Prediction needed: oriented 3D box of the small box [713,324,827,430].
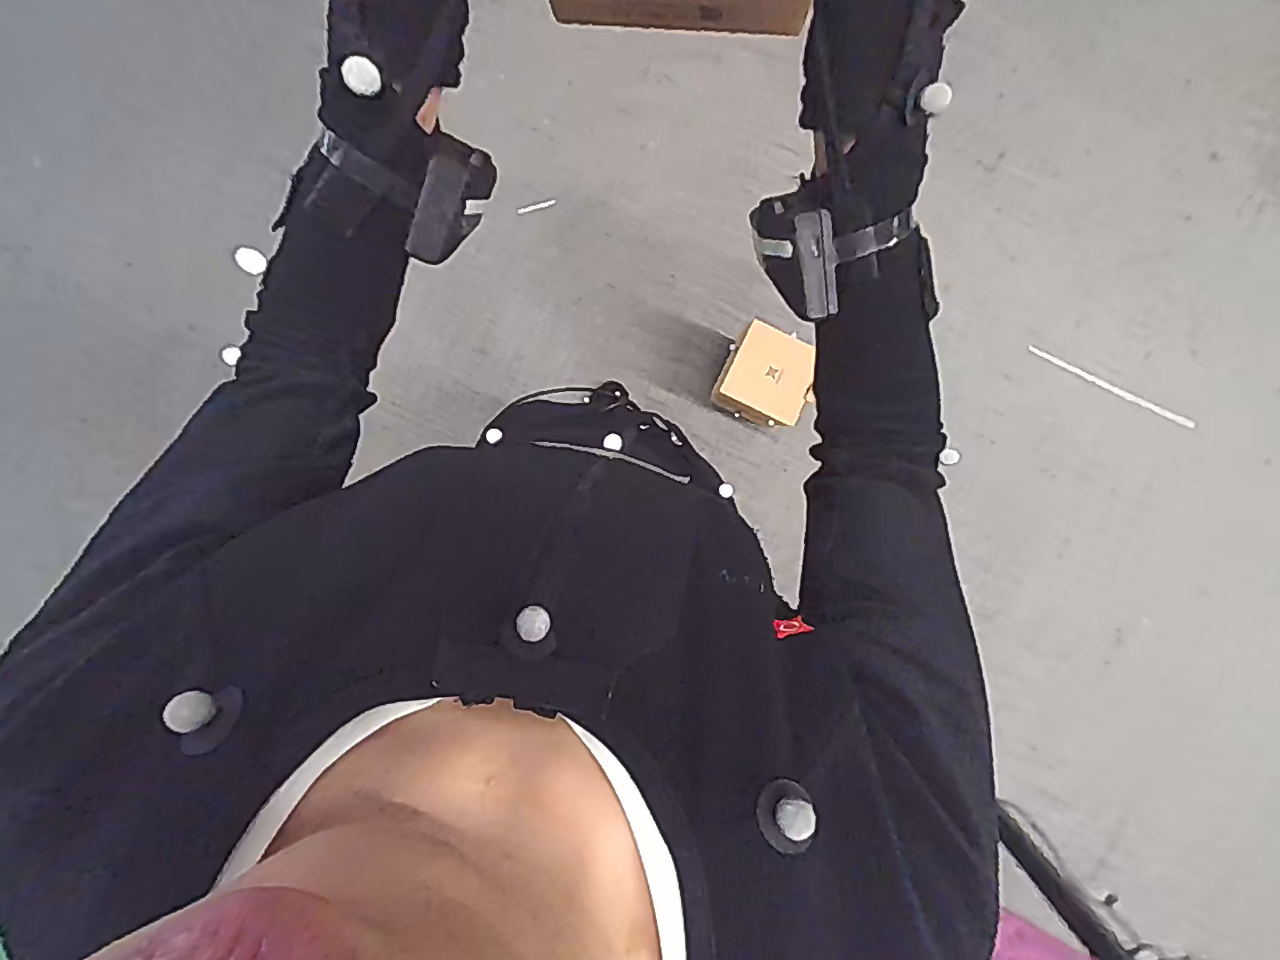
[{"bbox_3d":[0.276,-0.219,1.195,0.179,0.176,0.168,25,97,-2],"label":"small box"}]
